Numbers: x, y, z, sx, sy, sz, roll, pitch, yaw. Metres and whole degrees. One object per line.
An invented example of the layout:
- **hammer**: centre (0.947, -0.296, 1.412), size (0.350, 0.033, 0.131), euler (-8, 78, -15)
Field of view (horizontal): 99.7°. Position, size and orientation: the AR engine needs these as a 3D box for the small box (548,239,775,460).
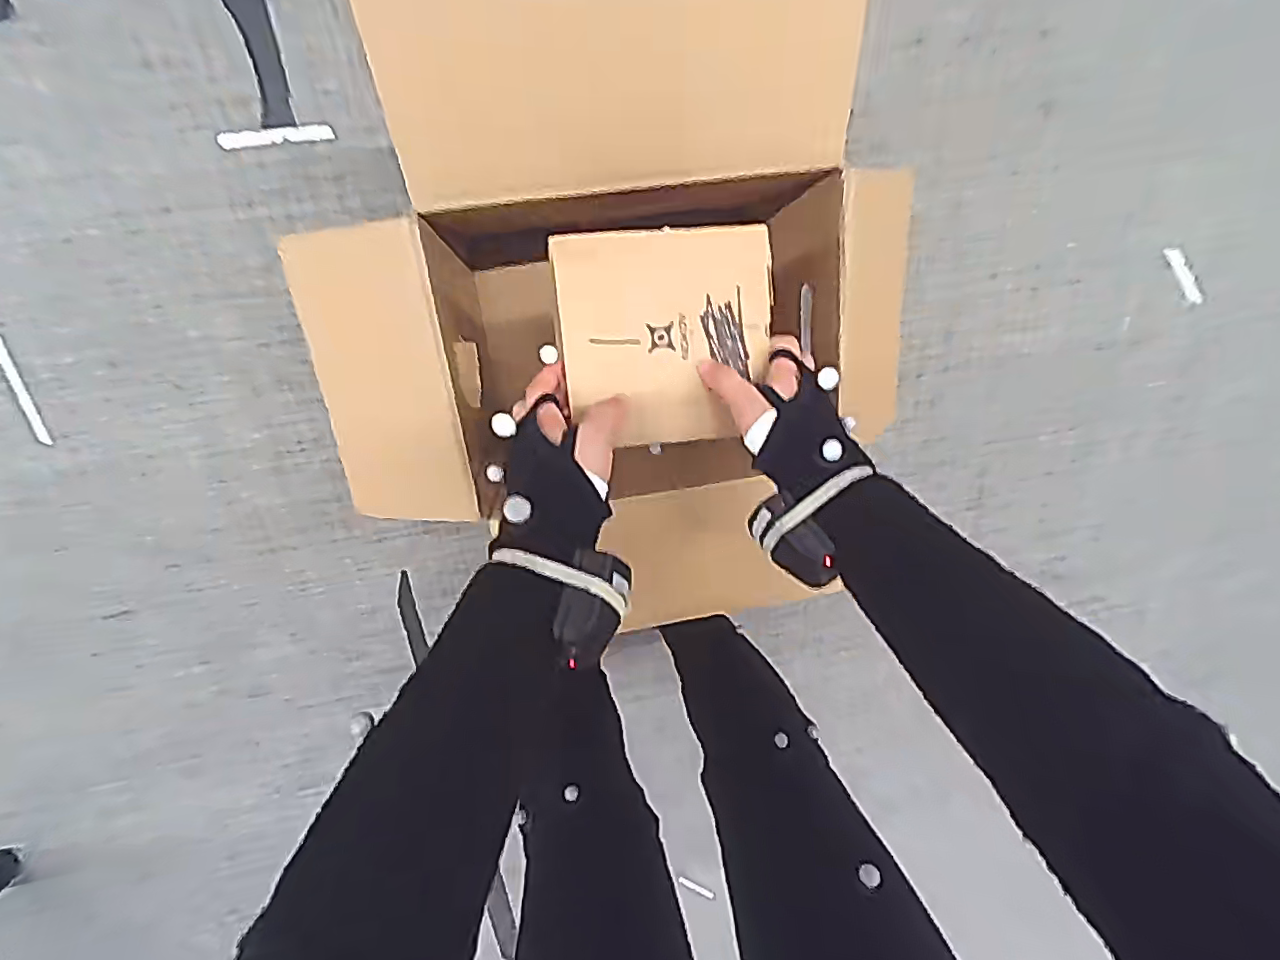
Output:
- **small box**: centre (0.009, -0.114, 0.505), size (0.179, 0.176, 0.168), euler (-6, 98, -8)
